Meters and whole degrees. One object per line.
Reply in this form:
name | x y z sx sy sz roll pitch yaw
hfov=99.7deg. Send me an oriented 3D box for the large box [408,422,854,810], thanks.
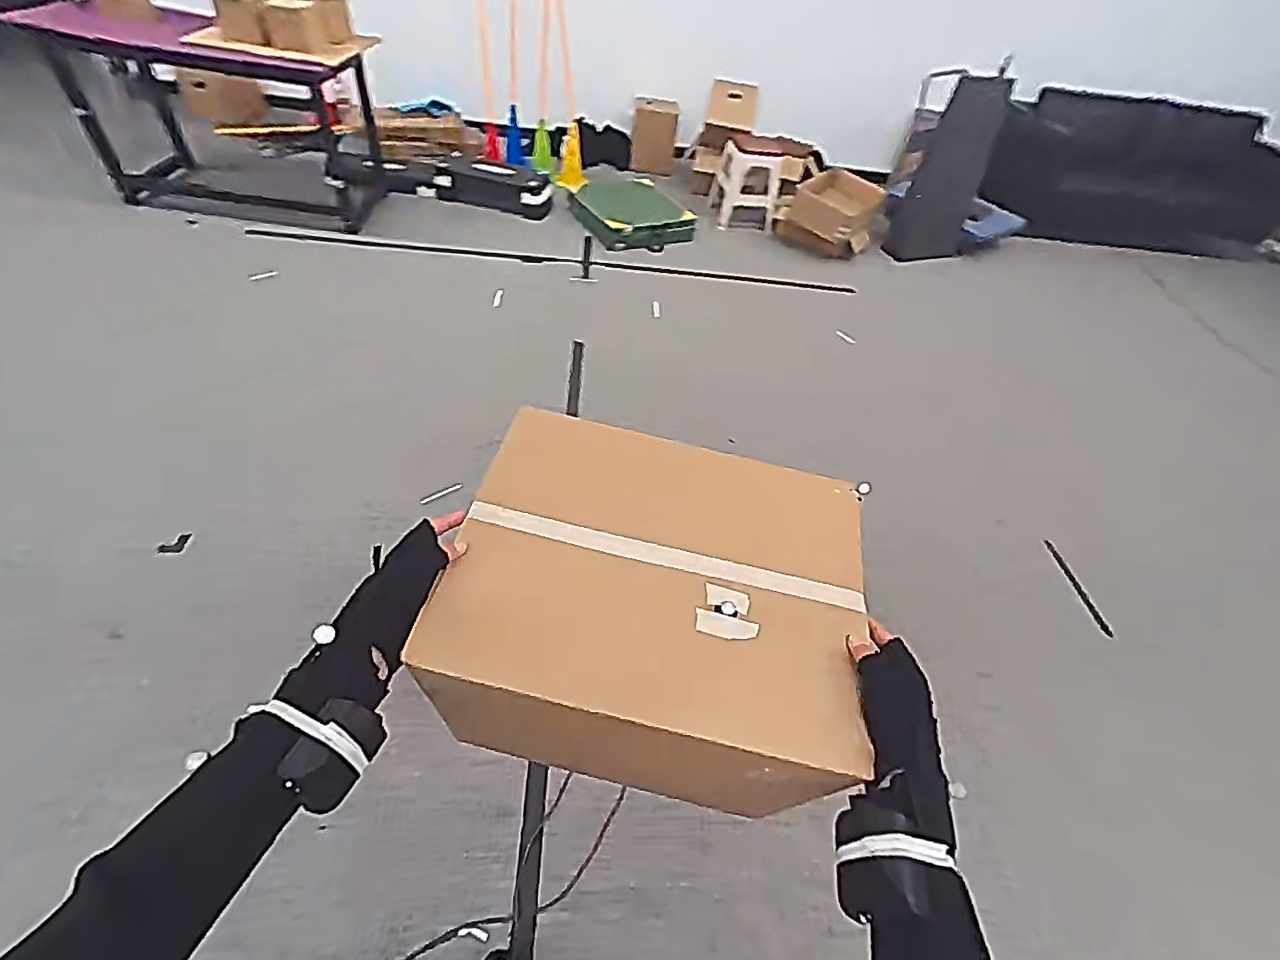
large box | -0.004 0.177 0.671 0.408 0.320 0.320 13 53 1
